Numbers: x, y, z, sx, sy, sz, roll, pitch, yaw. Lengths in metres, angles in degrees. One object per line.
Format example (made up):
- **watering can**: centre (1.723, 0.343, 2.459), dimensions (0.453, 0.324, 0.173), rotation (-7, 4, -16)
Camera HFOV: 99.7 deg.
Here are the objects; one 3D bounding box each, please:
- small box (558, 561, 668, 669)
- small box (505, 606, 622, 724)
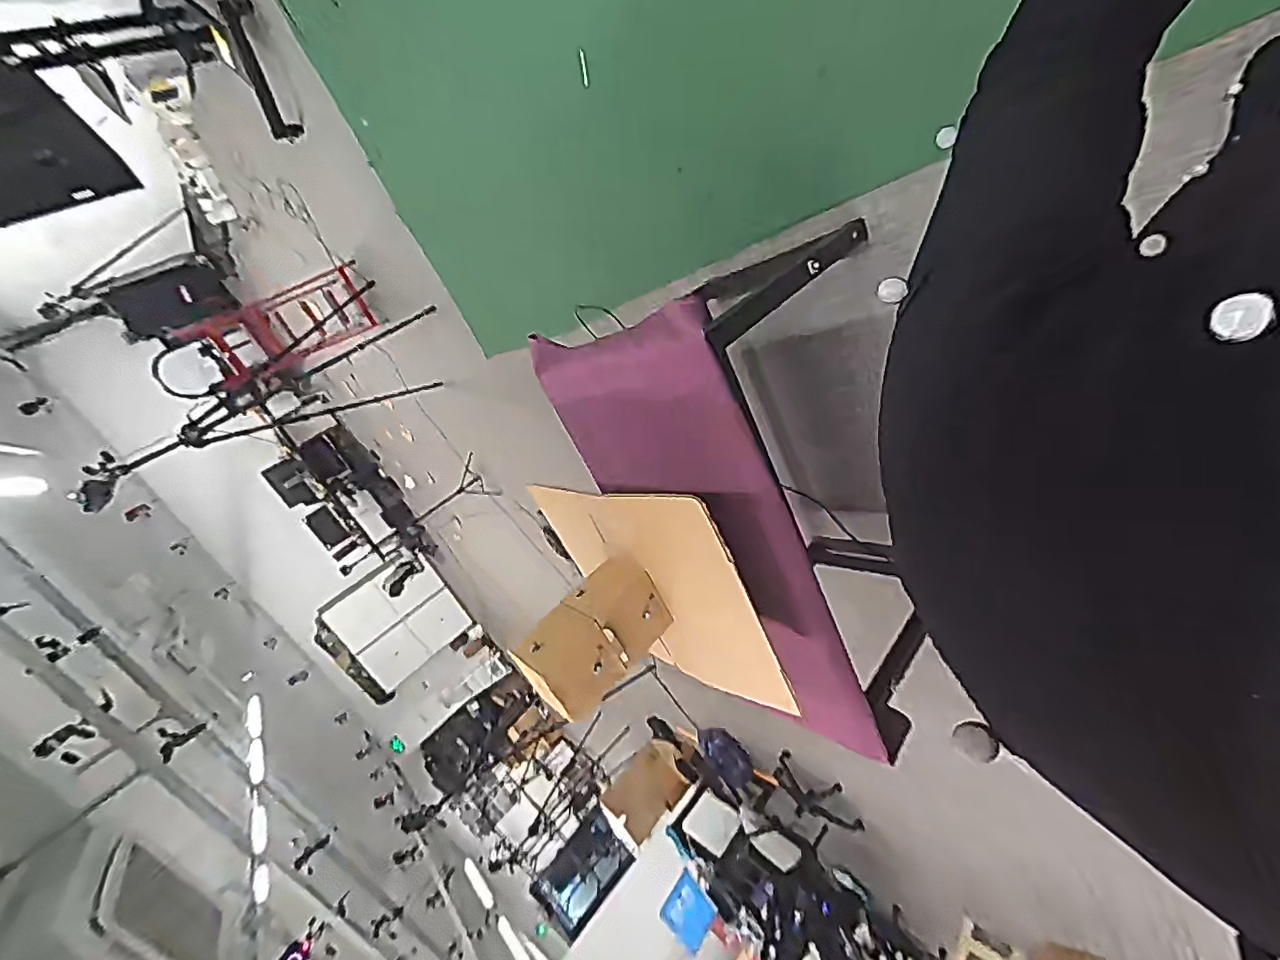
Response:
- **small box**: centre (-0.063, 0.321, 1.321), dimensions (0.179, 0.176, 0.168), rotation (6, 130, 52)
- **small box**: centre (-0.174, 0.414, 1.246), dimensions (0.179, 0.176, 0.168), rotation (4, 127, 54)
